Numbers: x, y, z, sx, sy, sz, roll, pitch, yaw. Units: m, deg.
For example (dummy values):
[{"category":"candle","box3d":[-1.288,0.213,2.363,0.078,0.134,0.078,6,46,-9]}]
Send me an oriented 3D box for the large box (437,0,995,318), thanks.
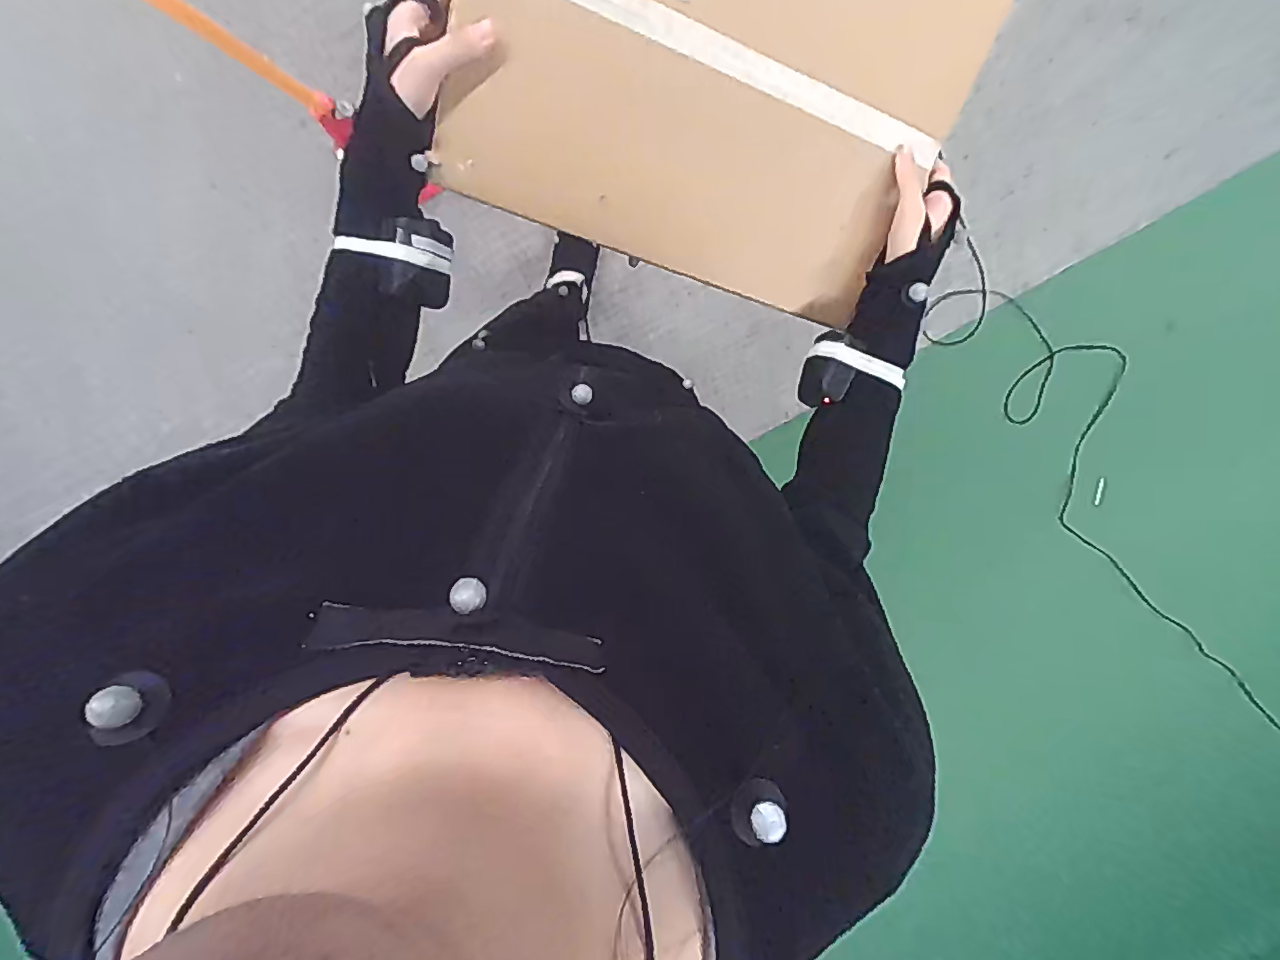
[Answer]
[{"category":"large box","box3d":[0.048,-0.404,0.566,0.408,0.320,0.320,14,114,-15]}]
